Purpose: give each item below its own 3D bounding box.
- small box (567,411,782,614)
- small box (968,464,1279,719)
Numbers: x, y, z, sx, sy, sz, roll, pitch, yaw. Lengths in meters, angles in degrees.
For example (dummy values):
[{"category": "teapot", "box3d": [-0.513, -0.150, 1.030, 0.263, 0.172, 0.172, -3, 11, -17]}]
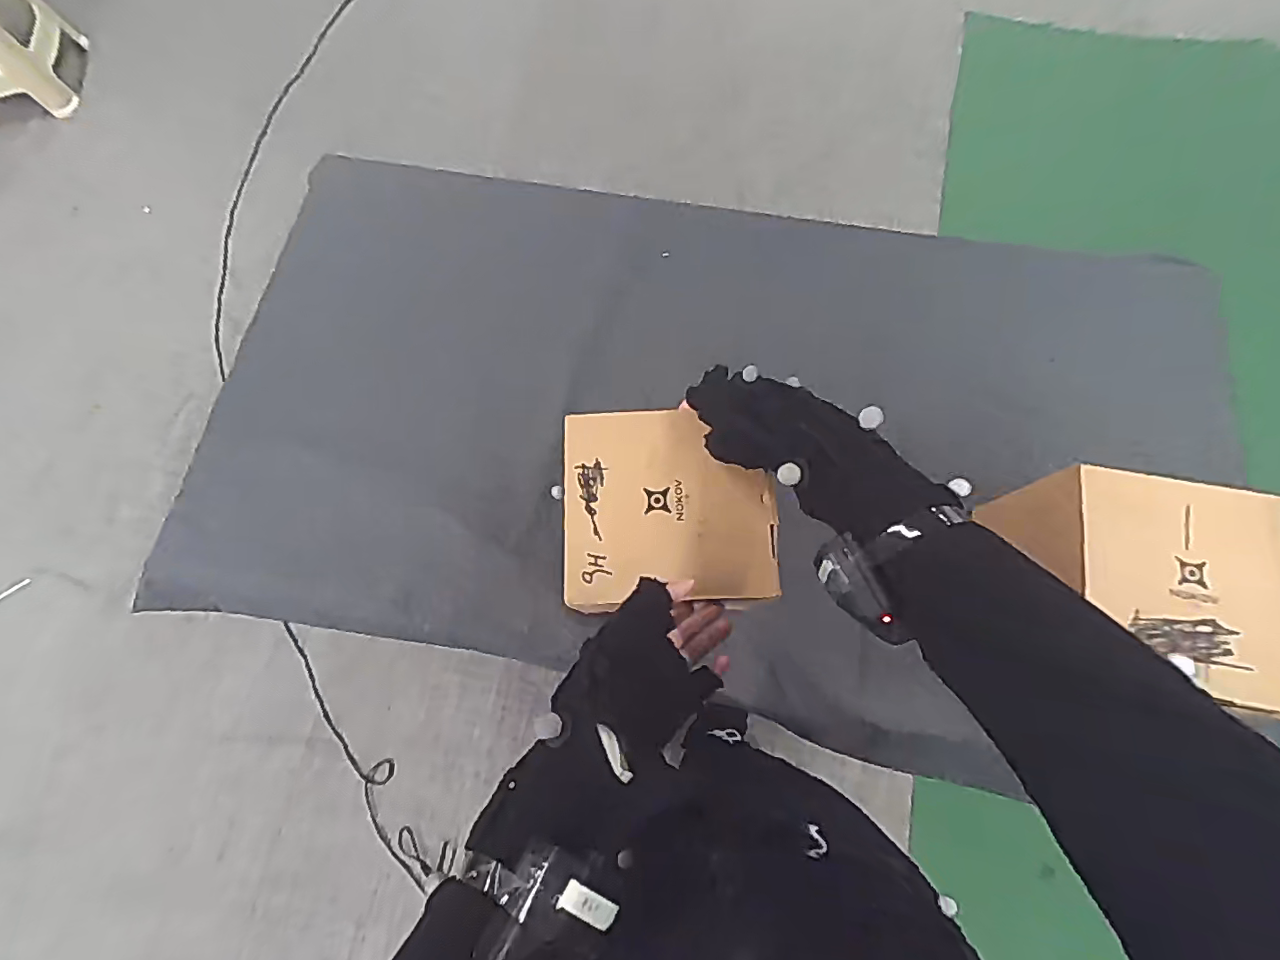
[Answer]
[{"category": "small box", "box3d": [0.025, 0.042, 0.531, 0.179, 0.176, 0.168, -2, 73, -1]}, {"category": "small box", "box3d": [0.433, 0.105, 0.502, 0.168, 0.176, 0.179, 11, 73, 5]}]
